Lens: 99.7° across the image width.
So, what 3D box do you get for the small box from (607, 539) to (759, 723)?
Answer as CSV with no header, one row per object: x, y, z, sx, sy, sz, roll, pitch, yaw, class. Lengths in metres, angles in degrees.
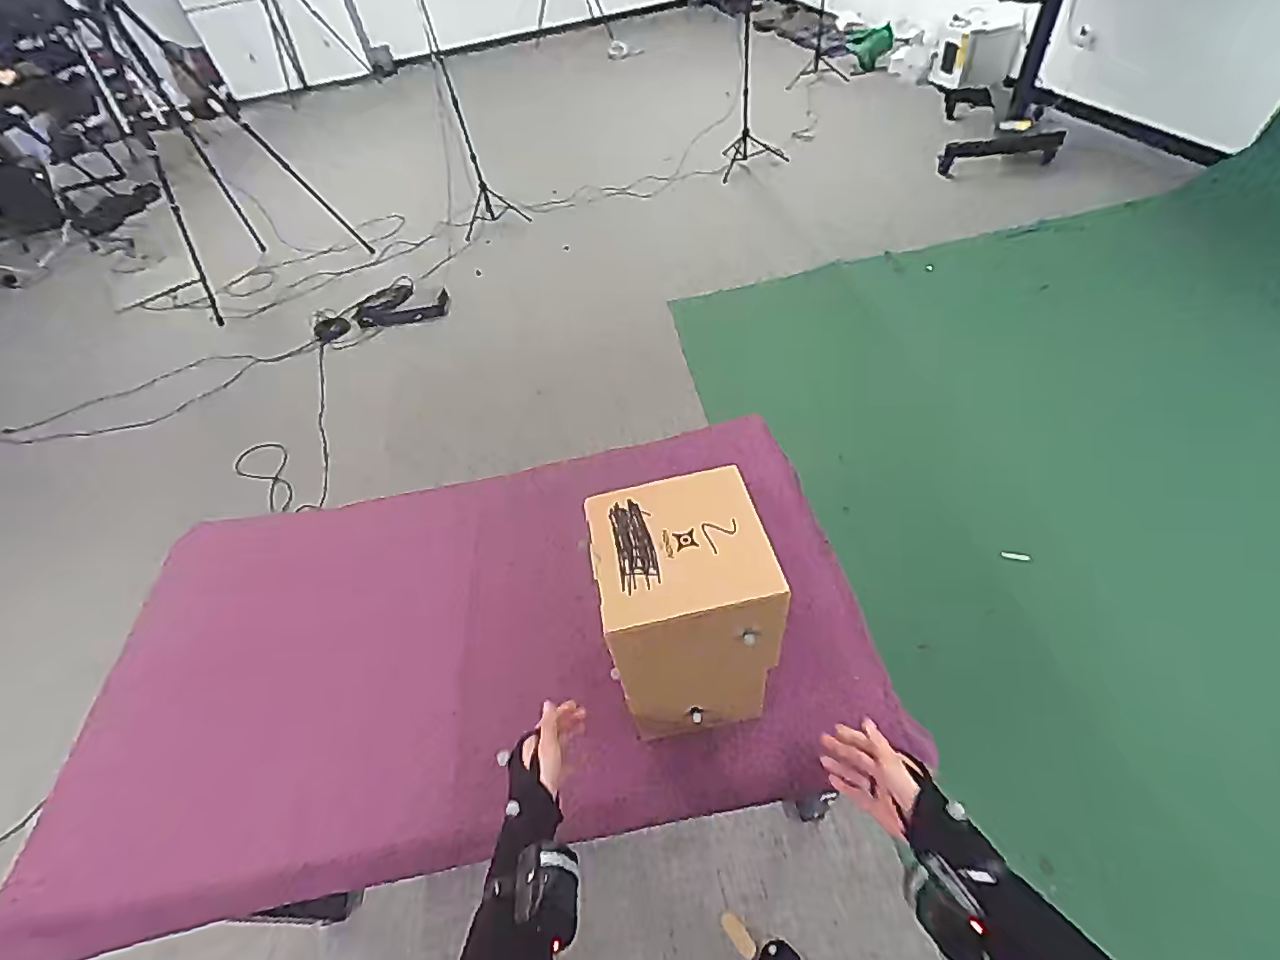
0.057,0.210,0.727,0.168,0.176,0.179,-11,48,0,small box
